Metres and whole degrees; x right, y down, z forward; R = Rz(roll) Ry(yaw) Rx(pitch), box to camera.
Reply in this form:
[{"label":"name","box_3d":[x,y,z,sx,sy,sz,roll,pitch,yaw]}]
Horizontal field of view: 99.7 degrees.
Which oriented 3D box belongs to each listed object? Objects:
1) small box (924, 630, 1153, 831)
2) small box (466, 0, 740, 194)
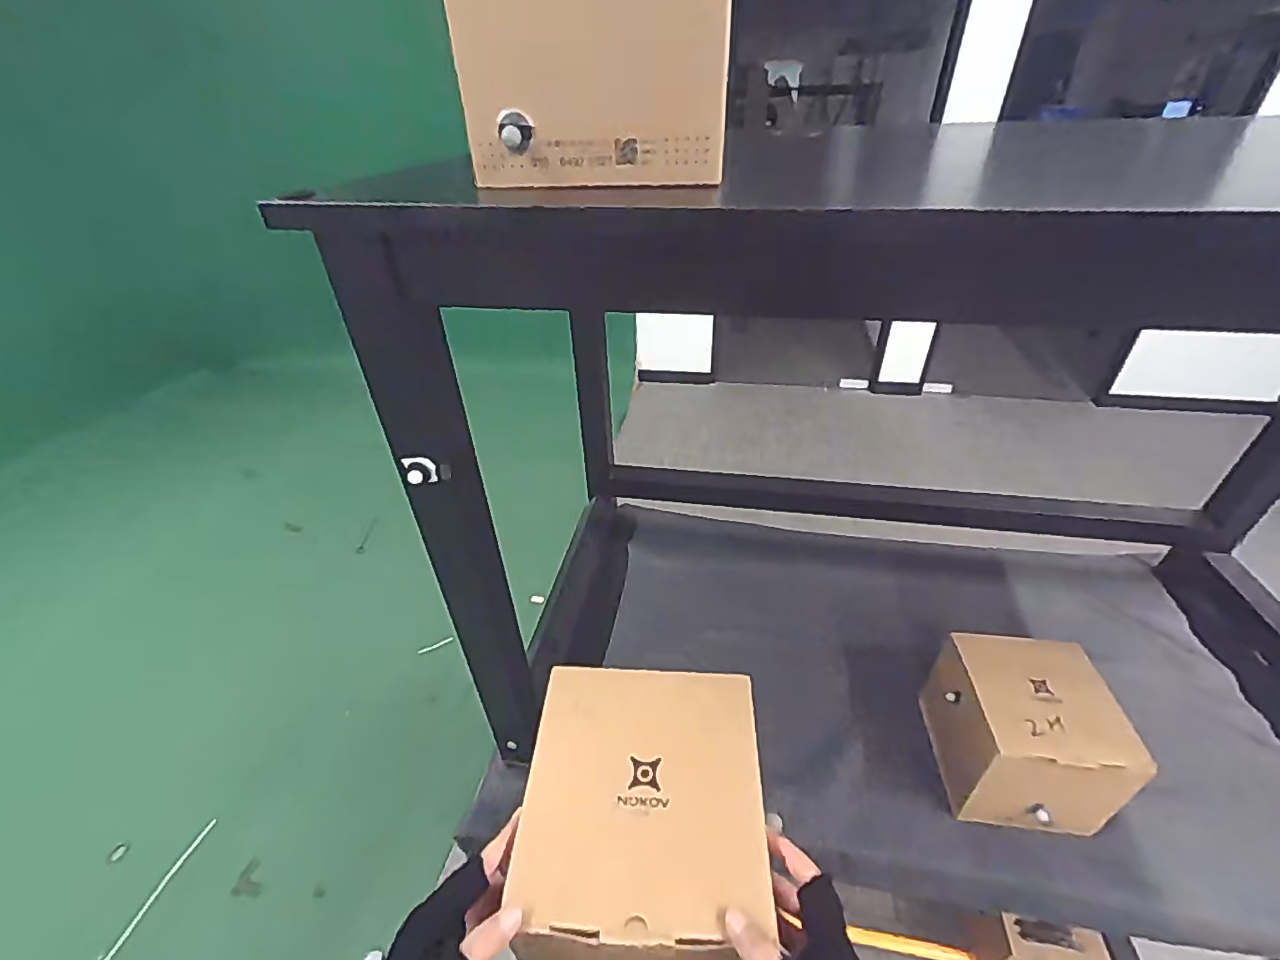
[{"label":"small box","box_3d":[0.506,0.330,0.726,0.168,0.176,0.179,3,35,8]},{"label":"small box","box_3d":[-0.014,-0.310,0.390,0.168,0.176,0.179,2,35,5]}]
